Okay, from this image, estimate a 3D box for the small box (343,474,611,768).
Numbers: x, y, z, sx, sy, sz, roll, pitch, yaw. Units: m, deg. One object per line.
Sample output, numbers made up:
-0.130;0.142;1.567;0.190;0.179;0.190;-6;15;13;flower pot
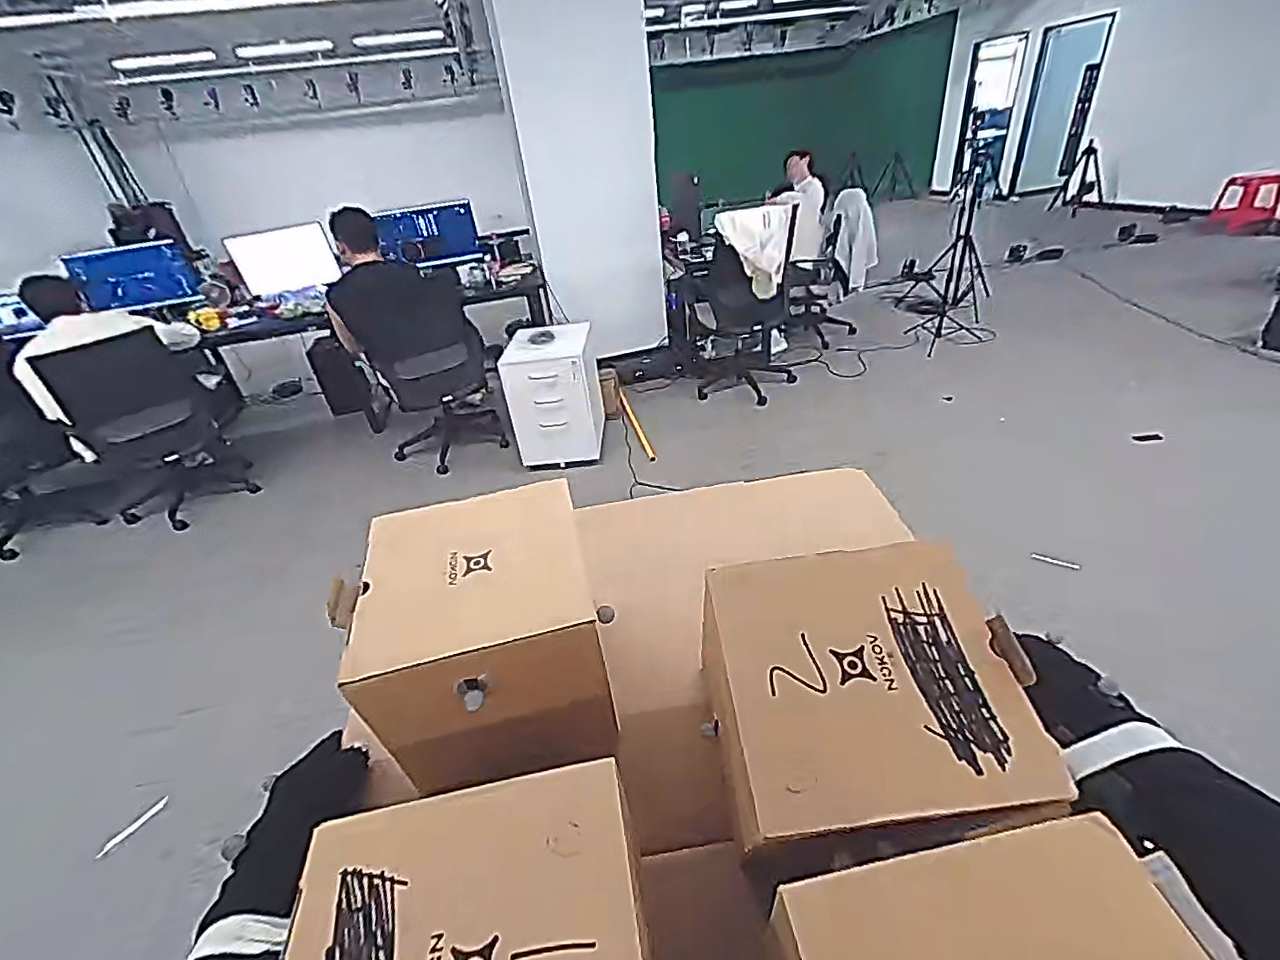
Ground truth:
-0.127;0.124;0.485;0.179;0.176;0.168;-13;39;-7;small box
